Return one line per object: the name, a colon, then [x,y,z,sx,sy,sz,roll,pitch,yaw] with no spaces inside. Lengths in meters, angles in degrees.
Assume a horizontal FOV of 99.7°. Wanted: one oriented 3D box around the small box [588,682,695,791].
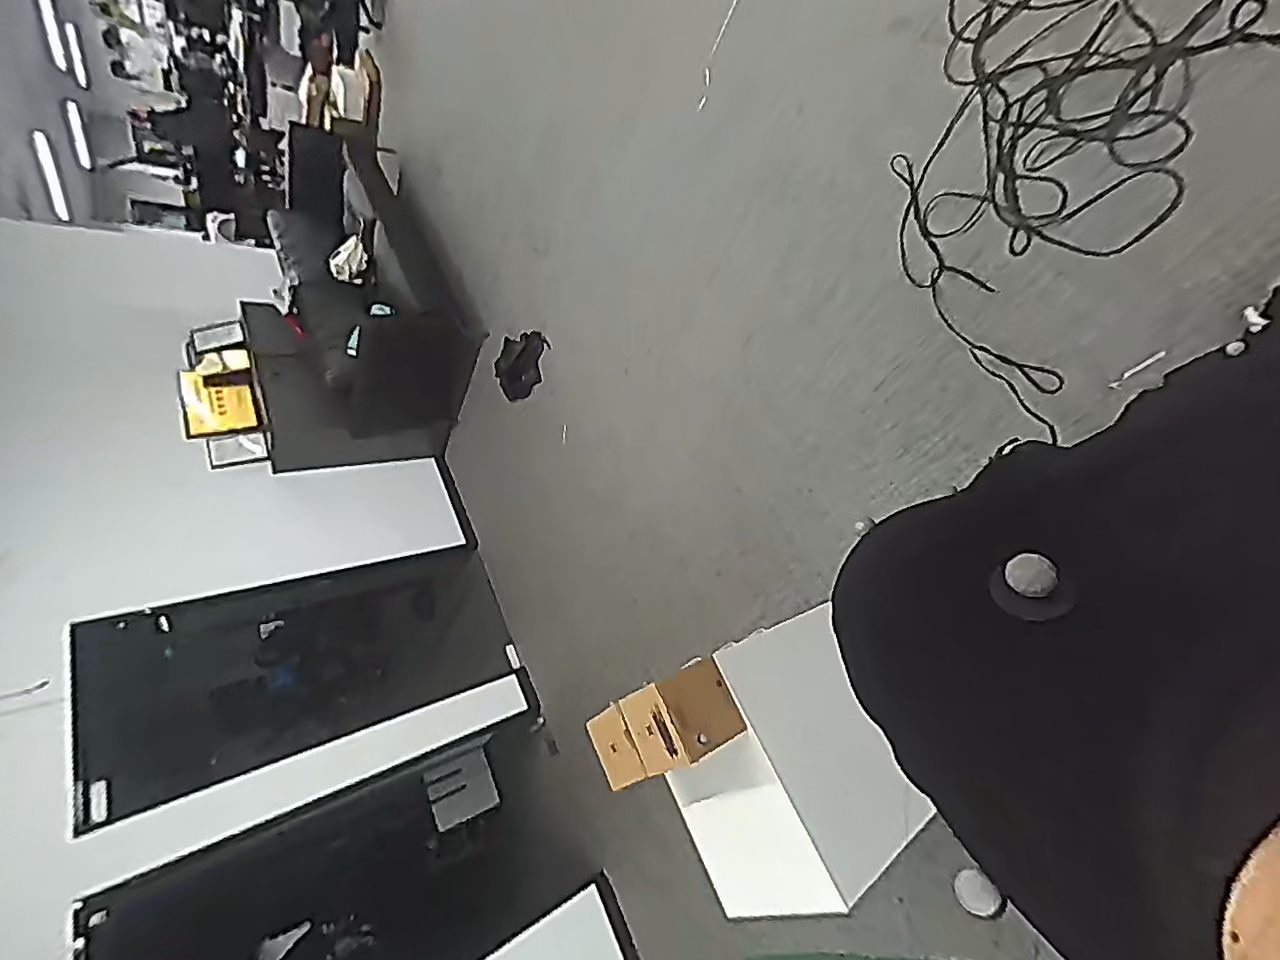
small box: [0.007,0.607,1.290,0.179,0.176,0.168,-53,56,43]
